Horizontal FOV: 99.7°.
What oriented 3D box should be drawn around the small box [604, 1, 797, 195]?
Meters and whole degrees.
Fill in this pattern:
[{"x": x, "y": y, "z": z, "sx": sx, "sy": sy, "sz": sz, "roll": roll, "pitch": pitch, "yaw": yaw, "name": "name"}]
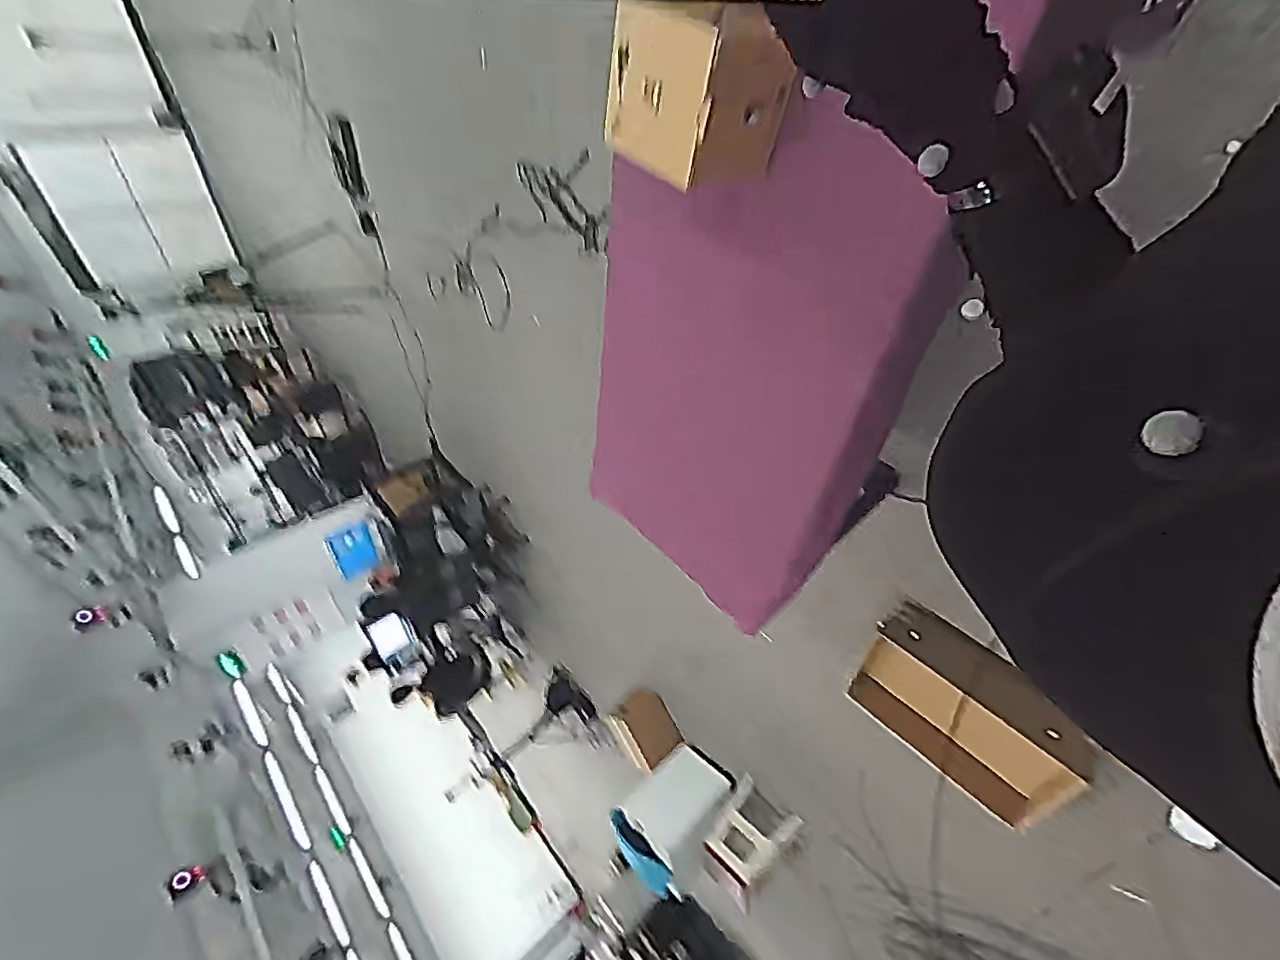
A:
[{"x": 0.078, "y": -0.513, "z": 0.725, "sx": 0.179, "sy": 0.176, "sz": 0.168, "roll": 43, "pitch": 143, "yaw": 24, "name": "small box"}]
